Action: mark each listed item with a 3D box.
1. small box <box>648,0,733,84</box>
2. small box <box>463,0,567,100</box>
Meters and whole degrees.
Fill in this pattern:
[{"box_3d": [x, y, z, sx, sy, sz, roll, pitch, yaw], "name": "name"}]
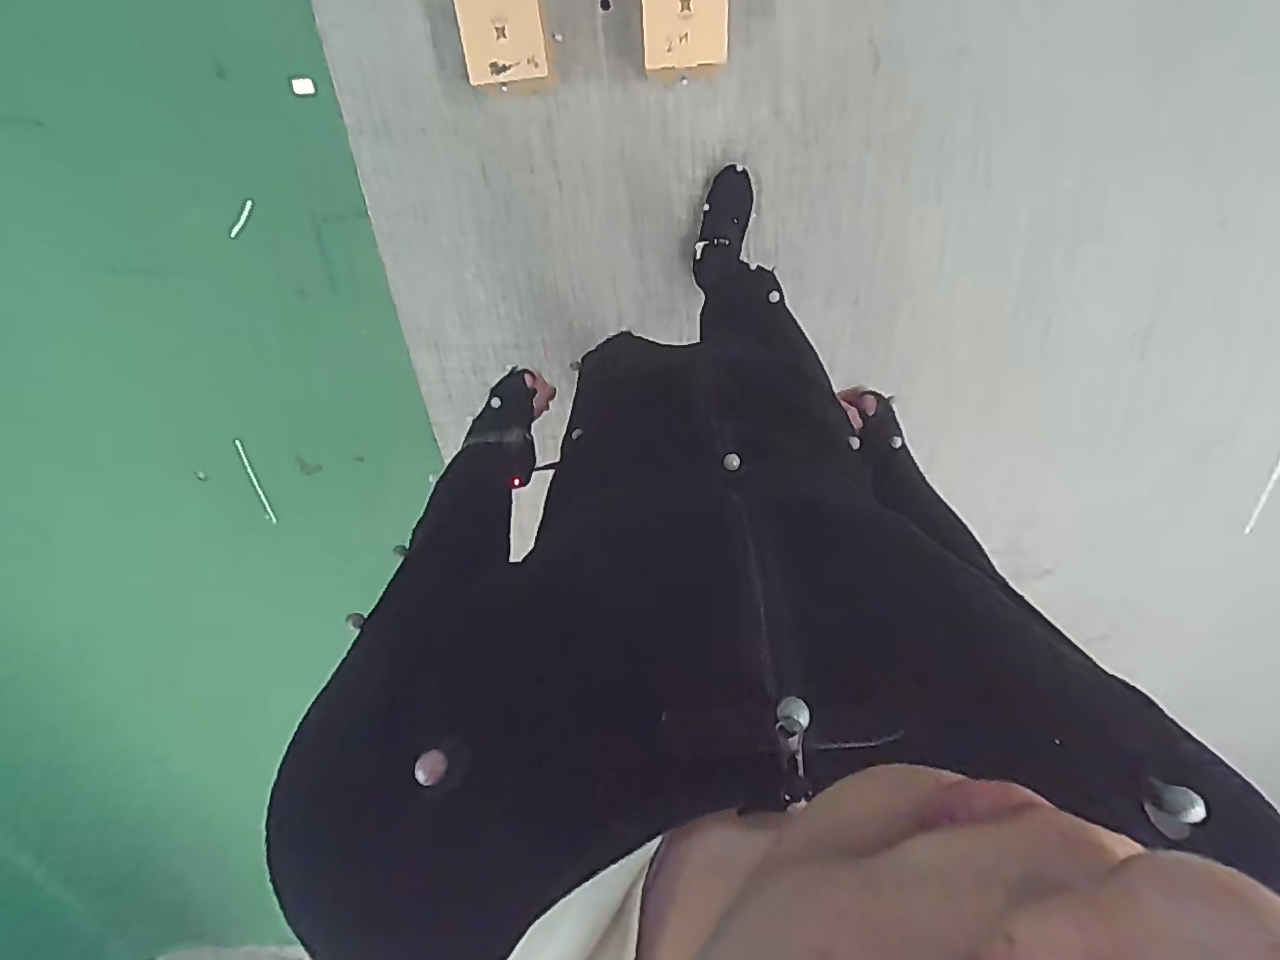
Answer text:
[{"box_3d": [0.100, -0.938, 1.109, 0.168, 0.176, 0.179, -1, 118, 5], "name": "small box"}, {"box_3d": [-0.256, -0.928, 1.140, 0.168, 0.176, 0.179, -2, 117, 6], "name": "small box"}]
